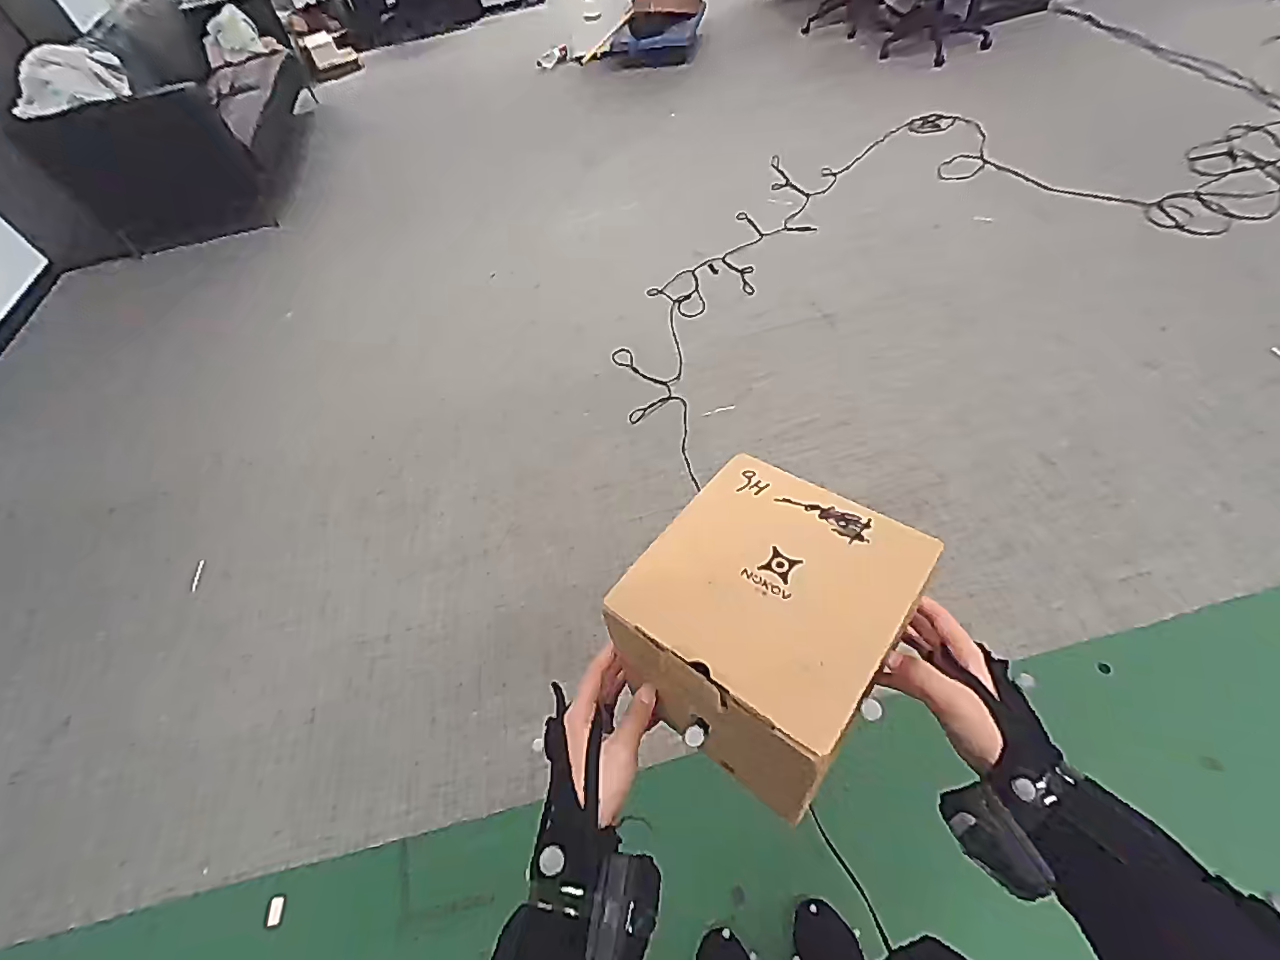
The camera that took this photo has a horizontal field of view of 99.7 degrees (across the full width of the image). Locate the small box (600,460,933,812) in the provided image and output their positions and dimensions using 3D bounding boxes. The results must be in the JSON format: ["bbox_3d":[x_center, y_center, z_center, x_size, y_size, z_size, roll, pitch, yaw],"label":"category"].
[{"bbox_3d":[0.098,0.122,0.429,0.168,0.176,0.179,28,59,31],"label":"small box"}]
